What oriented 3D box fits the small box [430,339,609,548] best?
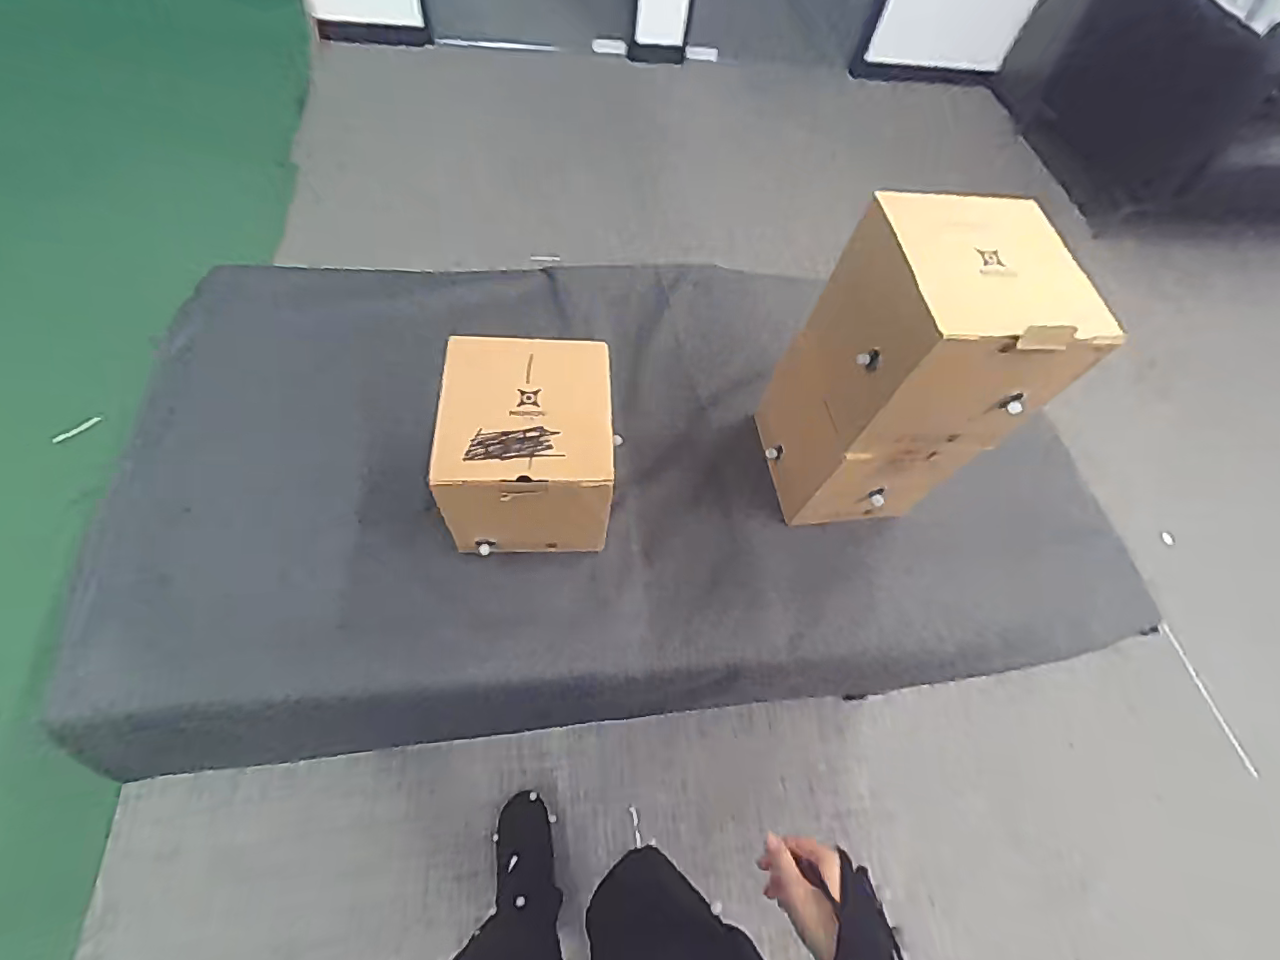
[{"bbox_3d":[-0.120,-0.031,0.601,0.168,0.176,0.179,1,59,-8],"label":"small box"}]

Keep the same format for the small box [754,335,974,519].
[{"bbox_3d":[0.258,-0.060,0.671,0.168,0.176,0.179,-4,62,-10],"label":"small box"}]

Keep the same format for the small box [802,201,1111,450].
[{"bbox_3d":[0.281,-0.141,0.531,0.168,0.176,0.179,-1,60,-9],"label":"small box"}]
